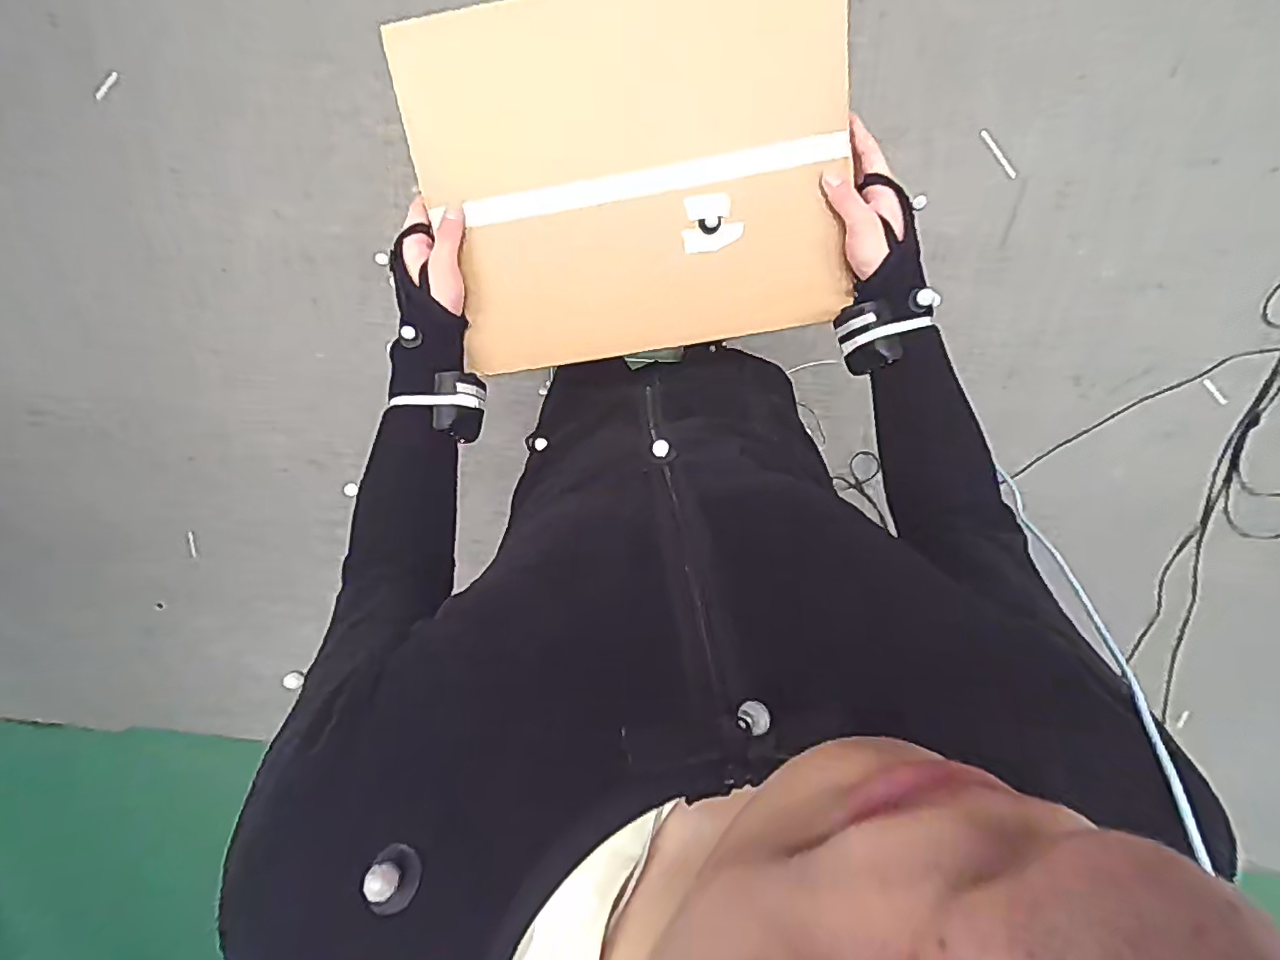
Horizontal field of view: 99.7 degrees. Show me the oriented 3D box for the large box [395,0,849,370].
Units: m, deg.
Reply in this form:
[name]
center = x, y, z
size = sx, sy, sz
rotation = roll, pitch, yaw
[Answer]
[large box]
center = -0.004, -0.342, 0.664
size = 0.408, 0.320, 0.320
rotation = -9, 111, 3
